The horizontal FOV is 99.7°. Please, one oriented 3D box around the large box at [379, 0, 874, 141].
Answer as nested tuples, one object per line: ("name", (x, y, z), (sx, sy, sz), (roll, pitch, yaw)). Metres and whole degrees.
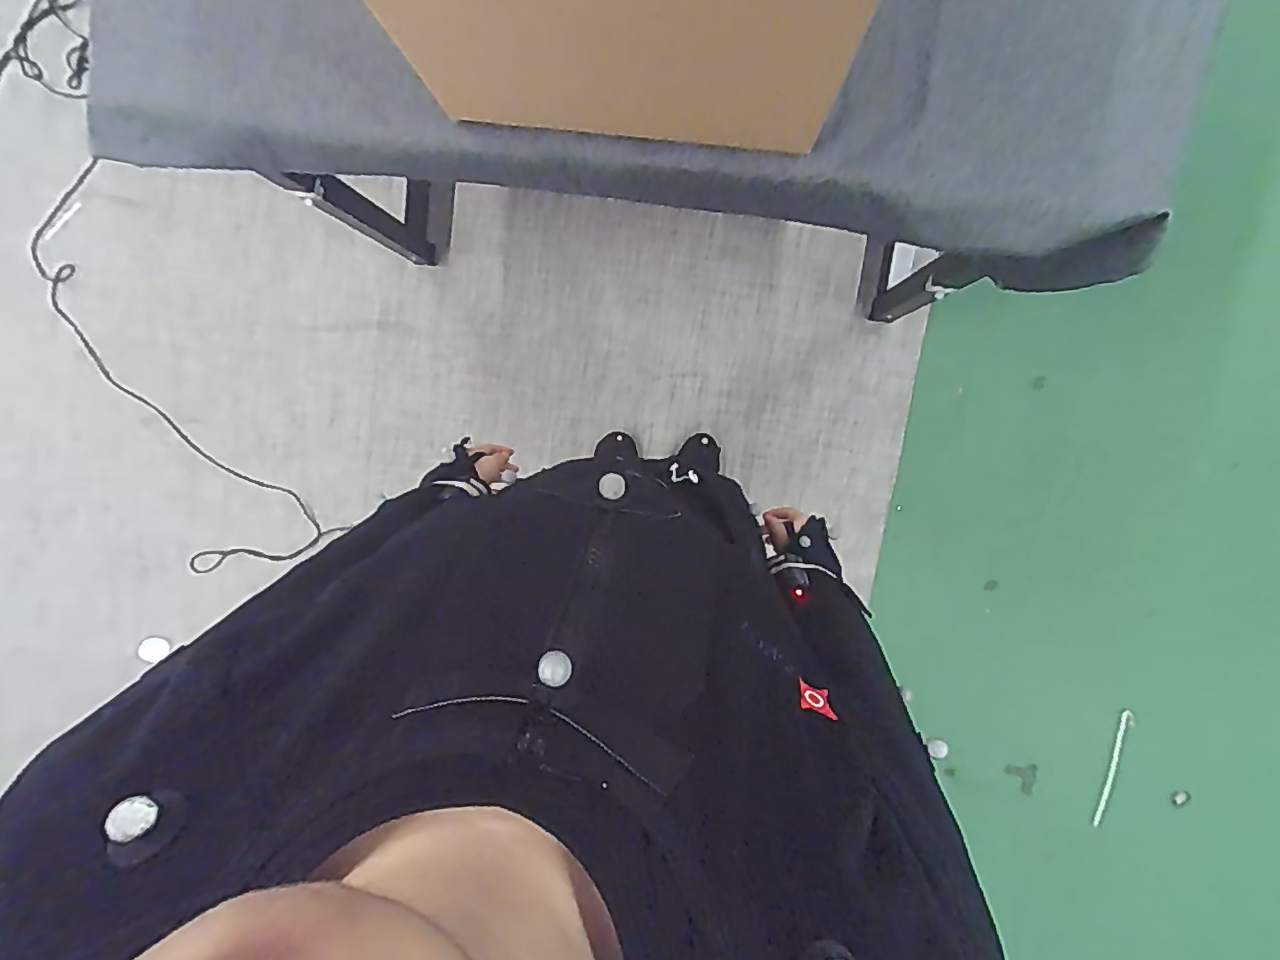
("large box", (-0.006, -0.521, 0.433), (0.408, 0.320, 0.320), (7, 96, 3))
